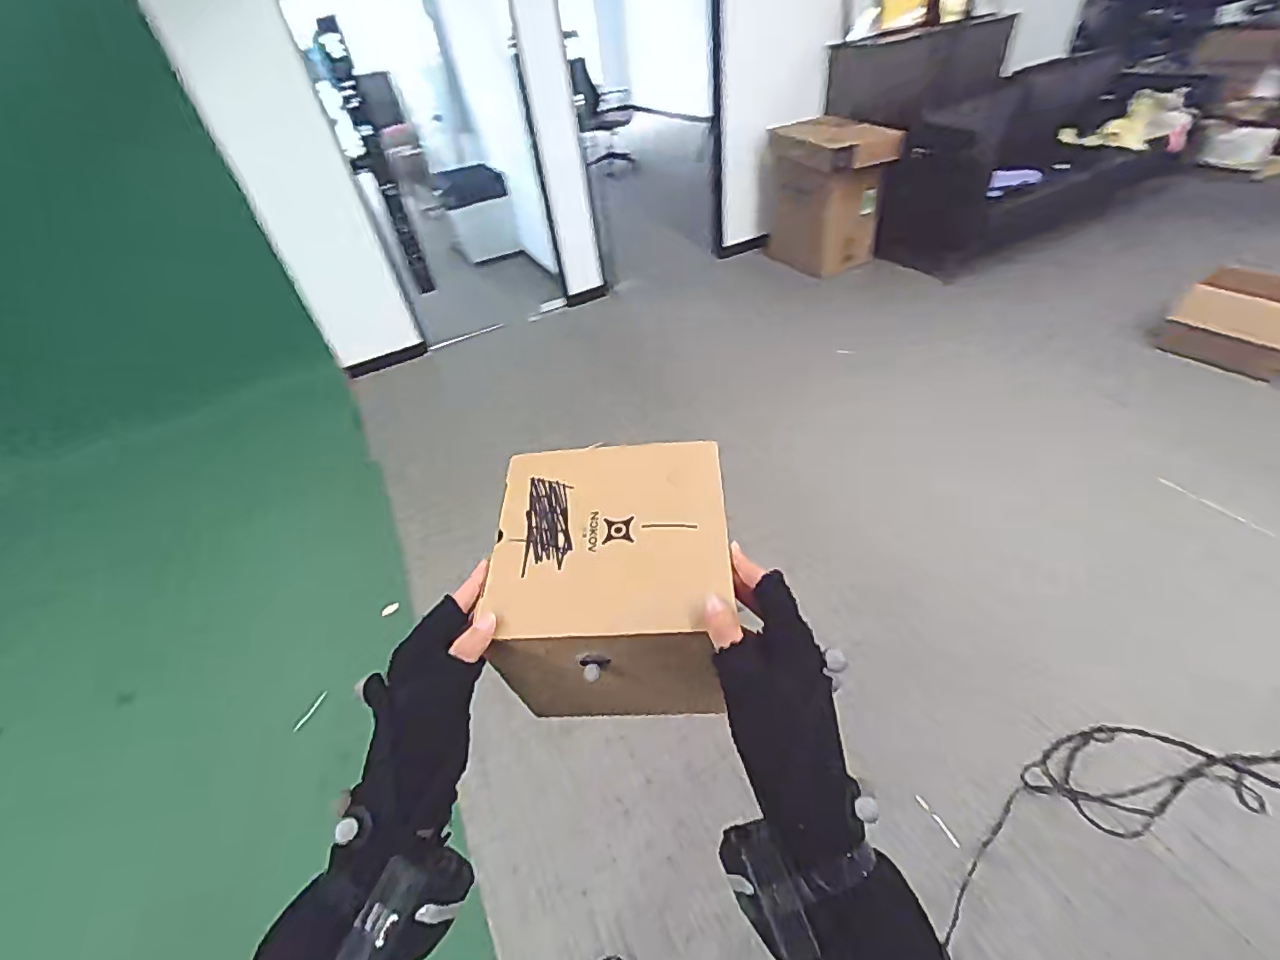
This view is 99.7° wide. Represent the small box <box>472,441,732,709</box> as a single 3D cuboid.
[{"bbox_3d":[-0.015,0.086,0.461,0.179,0.176,0.168,-2,50,5],"label":"small box"}]
